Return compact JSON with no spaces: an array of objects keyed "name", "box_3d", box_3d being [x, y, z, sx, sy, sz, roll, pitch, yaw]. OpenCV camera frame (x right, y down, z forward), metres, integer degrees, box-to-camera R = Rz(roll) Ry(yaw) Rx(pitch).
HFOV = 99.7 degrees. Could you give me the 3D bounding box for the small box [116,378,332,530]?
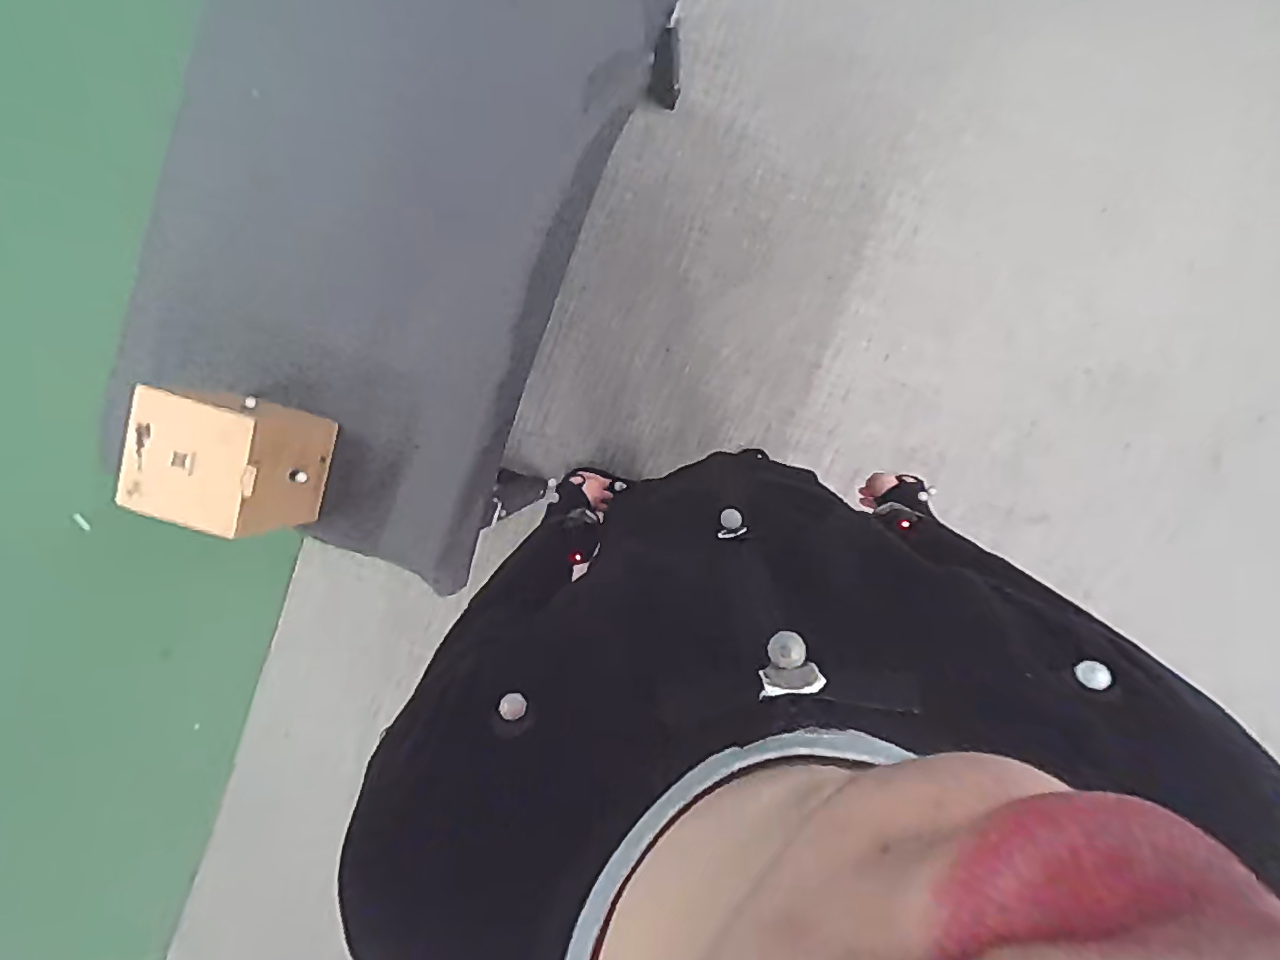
[{"name":"small box","box_3d":[-0.589,-0.042,0.789,0.179,0.176,0.168,16,96,2]}]
